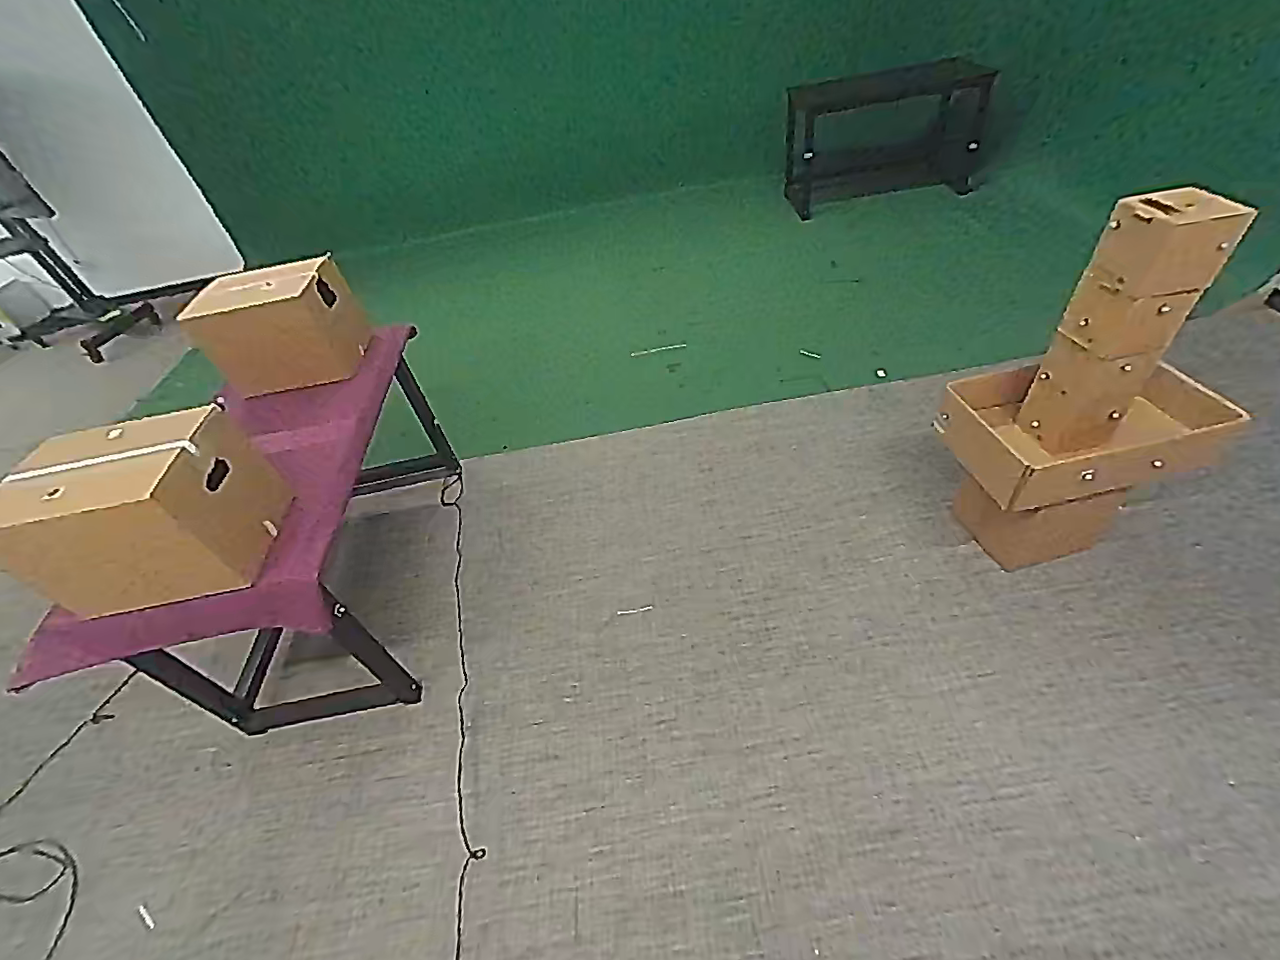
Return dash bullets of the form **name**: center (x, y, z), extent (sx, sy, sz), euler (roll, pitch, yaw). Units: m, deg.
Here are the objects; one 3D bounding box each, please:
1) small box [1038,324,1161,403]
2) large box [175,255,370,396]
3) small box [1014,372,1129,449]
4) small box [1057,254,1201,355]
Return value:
- **small box**: center (1.237, -0.330, 1.478), extent (0.179, 0.176, 0.168), euler (-12, 45, -4)
- **large box**: center (-1.224, -0.527, 1.852), extent (0.408, 0.320, 0.320), euler (-10, 46, 1)
- **small box**: center (1.256, -0.214, 1.592), extent (0.179, 0.176, 0.168), euler (-11, 44, -2)
- **small box**: center (1.214, -0.441, 1.361), extent (0.179, 0.176, 0.168), euler (-14, 45, -3)
